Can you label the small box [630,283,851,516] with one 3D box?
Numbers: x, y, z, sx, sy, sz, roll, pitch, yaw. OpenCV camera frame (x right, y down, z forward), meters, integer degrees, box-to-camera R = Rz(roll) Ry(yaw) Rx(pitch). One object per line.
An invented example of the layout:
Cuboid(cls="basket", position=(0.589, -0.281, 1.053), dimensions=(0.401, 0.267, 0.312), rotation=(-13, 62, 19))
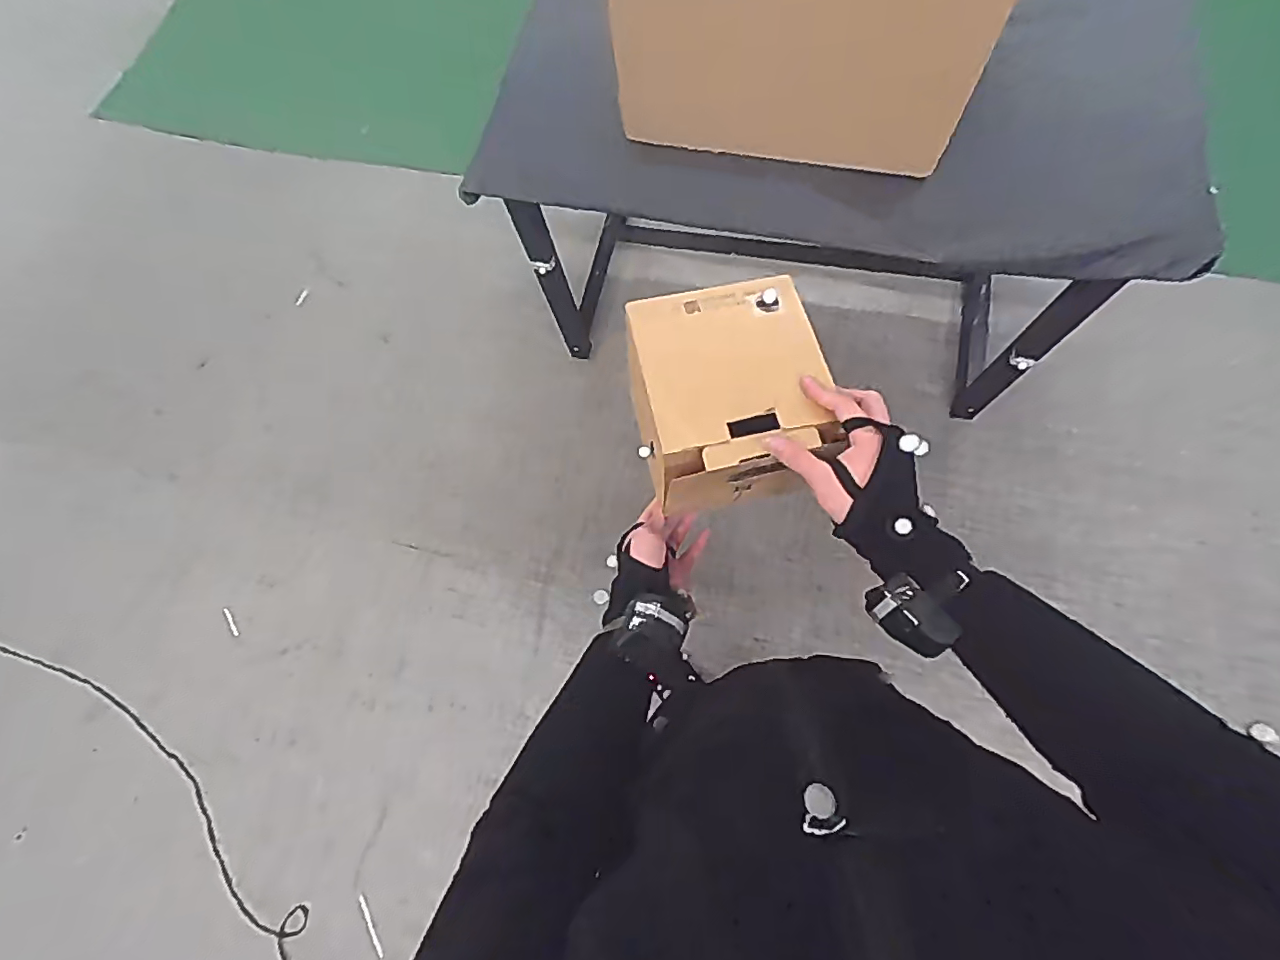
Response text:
Cuboid(cls="small box", position=(0.084, -0.083, 0.558), dimensions=(0.168, 0.179, 0.176), rotation=(-10, 67, -5))
